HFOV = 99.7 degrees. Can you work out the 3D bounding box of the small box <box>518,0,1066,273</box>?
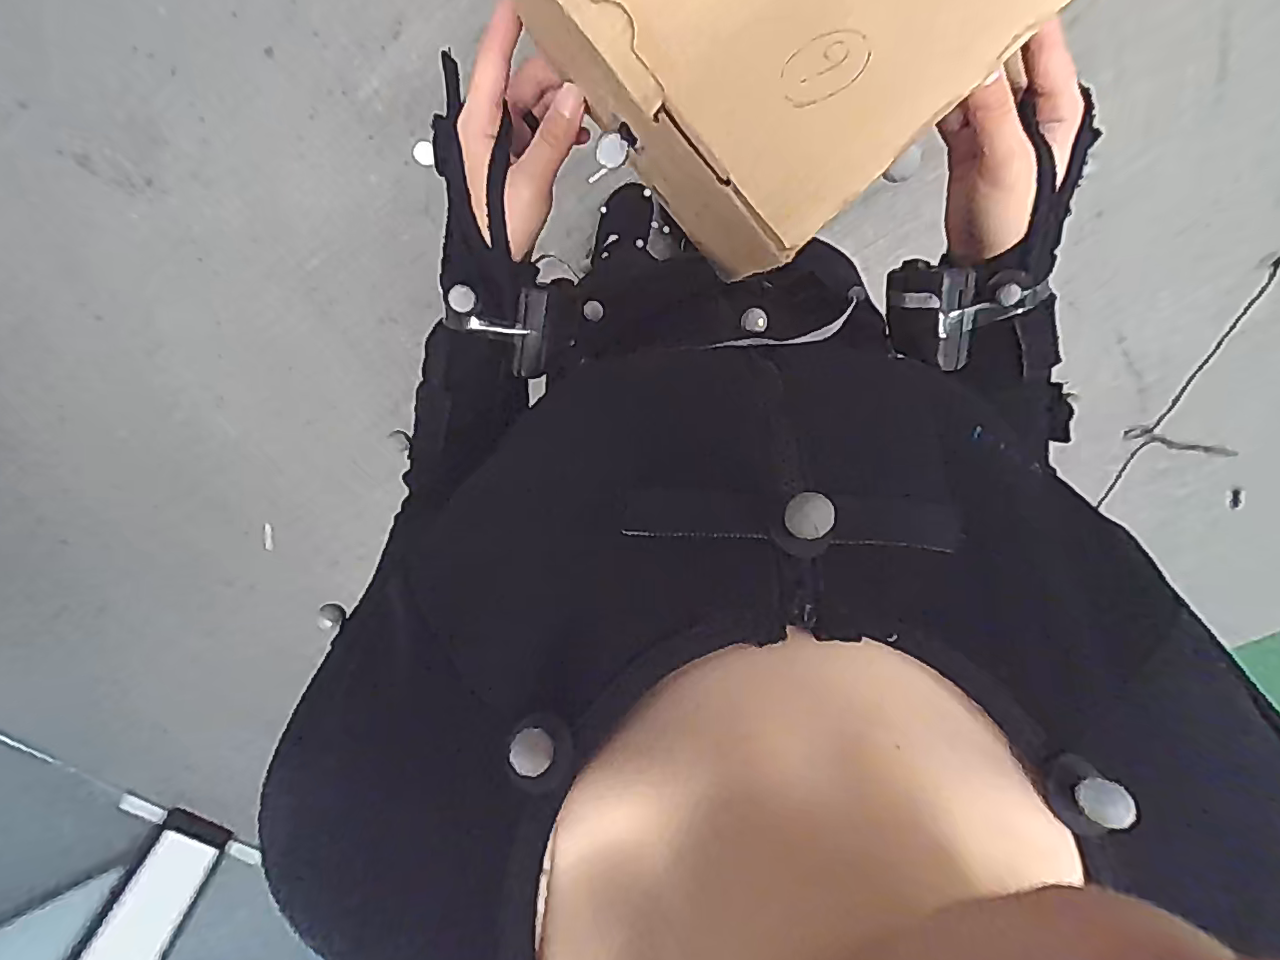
[{"bbox_3d":[0.057,-0.204,0.214,0.179,0.176,0.168,-40,101,15],"label":"small box"}]
